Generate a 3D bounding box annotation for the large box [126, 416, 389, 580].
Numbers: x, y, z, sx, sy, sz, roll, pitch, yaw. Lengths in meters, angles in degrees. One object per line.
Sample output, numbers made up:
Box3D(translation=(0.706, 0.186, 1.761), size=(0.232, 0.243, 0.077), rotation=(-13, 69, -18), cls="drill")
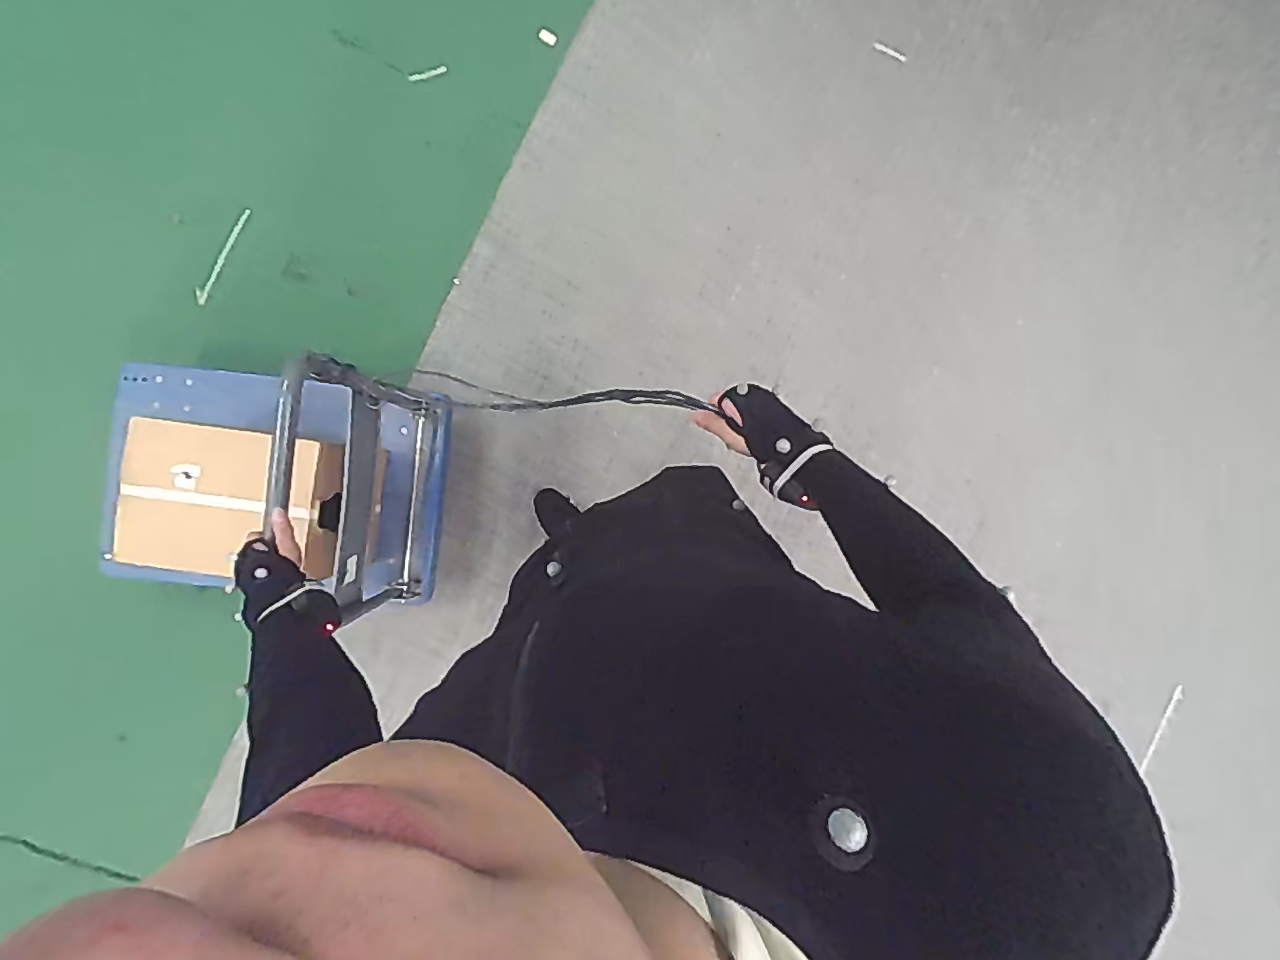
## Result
Box3D(translation=(-0.878, 0.035, 1.295), size=(0.408, 0.320, 0.320), rotation=(8, 90, 0), cls="large box")
